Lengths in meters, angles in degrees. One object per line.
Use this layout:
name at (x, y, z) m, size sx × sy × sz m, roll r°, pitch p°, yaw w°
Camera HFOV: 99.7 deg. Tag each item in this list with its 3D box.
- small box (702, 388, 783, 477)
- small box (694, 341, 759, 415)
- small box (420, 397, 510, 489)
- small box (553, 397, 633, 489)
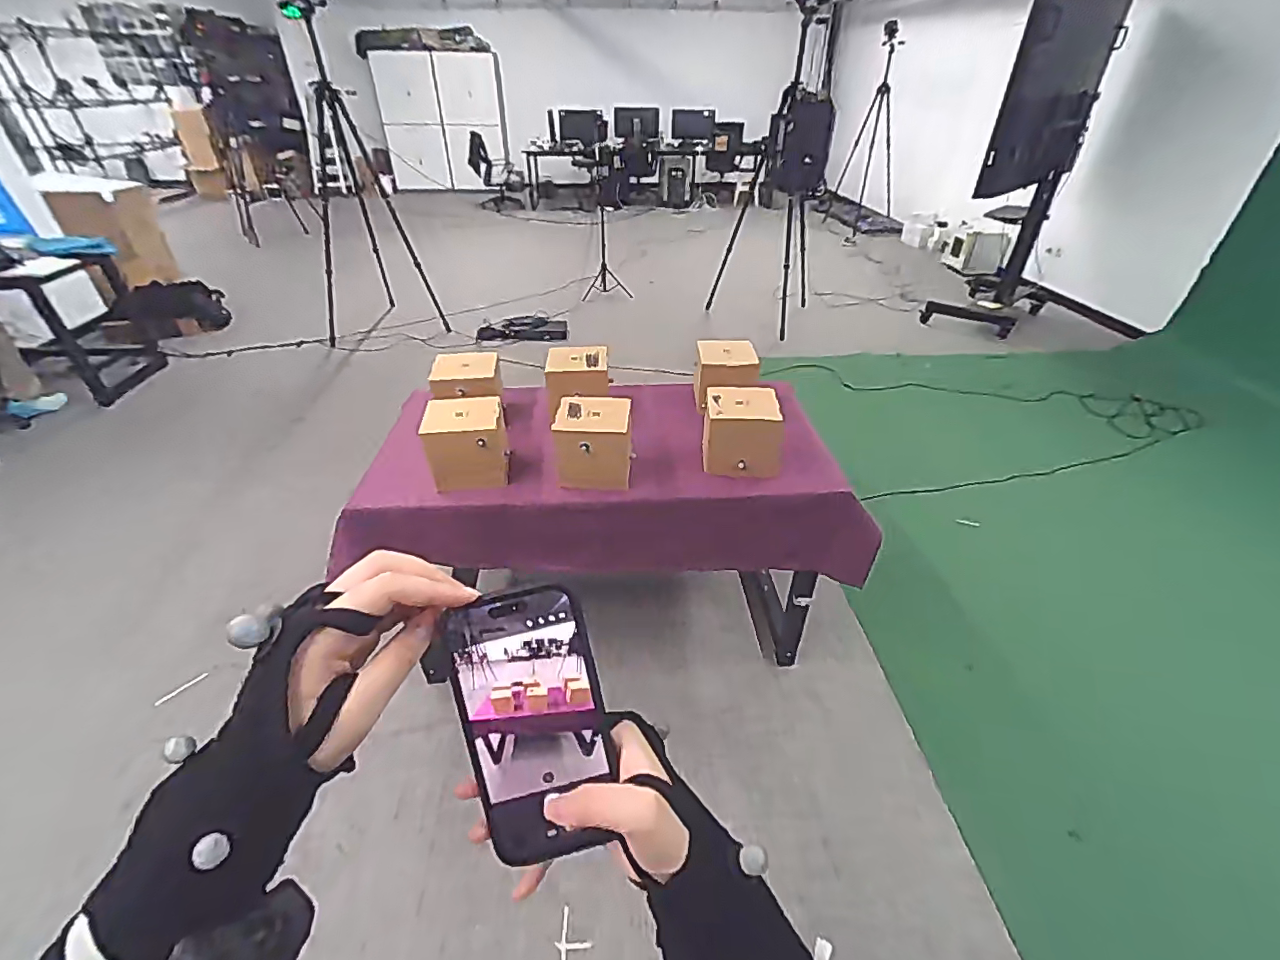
small box at (0.256, -0.121, 1.388) m, size 0.179 × 0.176 × 0.168 m, roll 3°, pitch 36°, yaw 3°
small box at (0.255, -0.308, 1.640) m, size 0.168 × 0.176 × 0.179 m, roll 0°, pitch 37°, yaw 0°
small box at (-0.424, -0.091, 1.339) m, size 0.179 × 0.176 × 0.168 m, roll -4°, pitch 36°, yaw -8°
small box at (-0.111, -0.091, 1.342) m, size 0.179 × 0.176 × 0.168 m, roll 3°, pitch 36°, yaw 1°
